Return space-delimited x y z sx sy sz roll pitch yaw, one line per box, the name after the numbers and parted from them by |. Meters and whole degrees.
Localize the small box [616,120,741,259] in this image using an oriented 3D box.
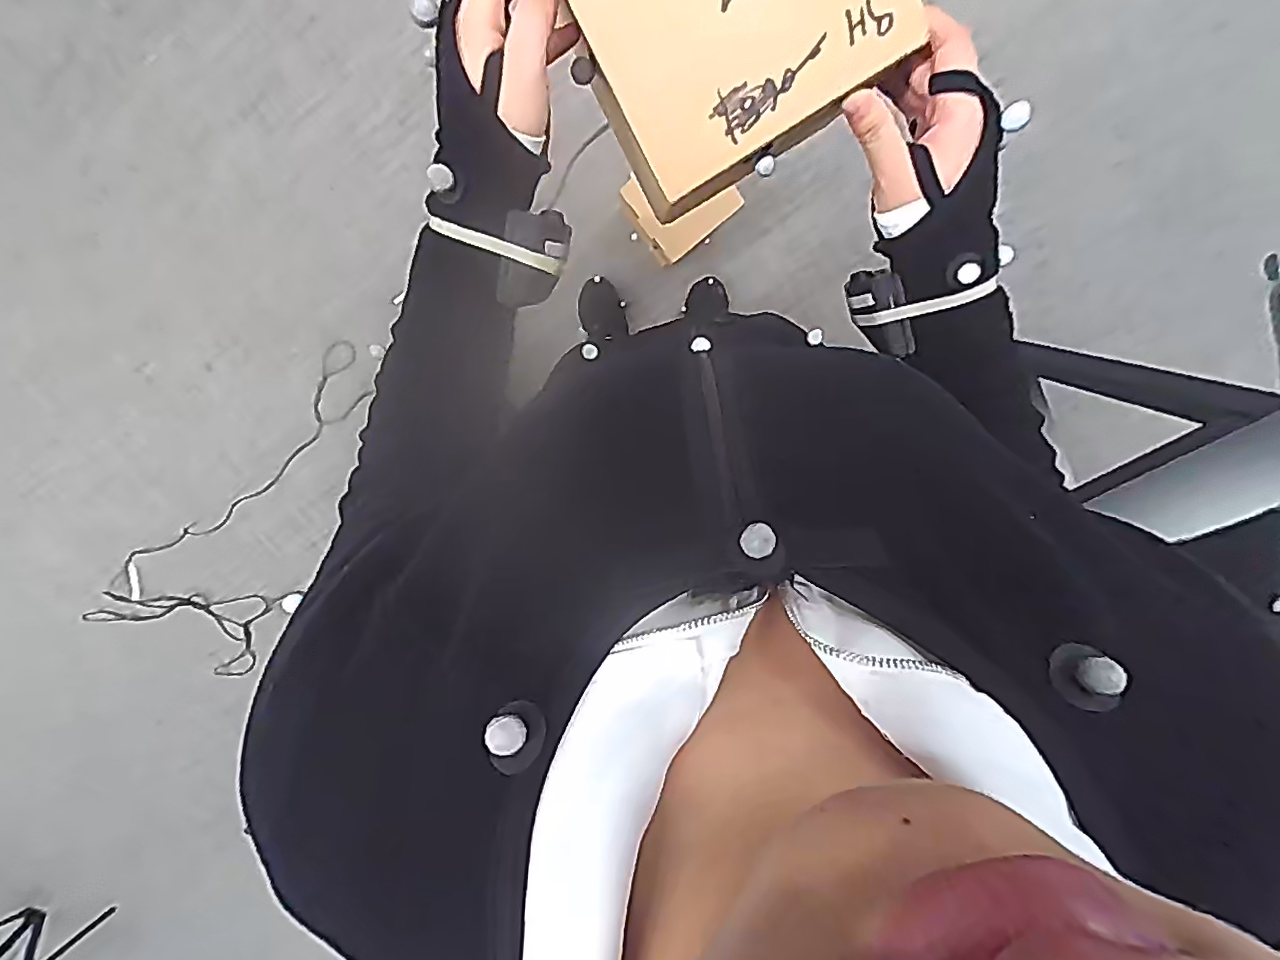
0.071 -0.560 1.072 0.179 0.176 0.168 -38 109 12 | small box

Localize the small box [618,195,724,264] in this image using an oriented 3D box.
0.064 -0.614 1.225 0.179 0.176 0.168 -34 108 13 | small box
